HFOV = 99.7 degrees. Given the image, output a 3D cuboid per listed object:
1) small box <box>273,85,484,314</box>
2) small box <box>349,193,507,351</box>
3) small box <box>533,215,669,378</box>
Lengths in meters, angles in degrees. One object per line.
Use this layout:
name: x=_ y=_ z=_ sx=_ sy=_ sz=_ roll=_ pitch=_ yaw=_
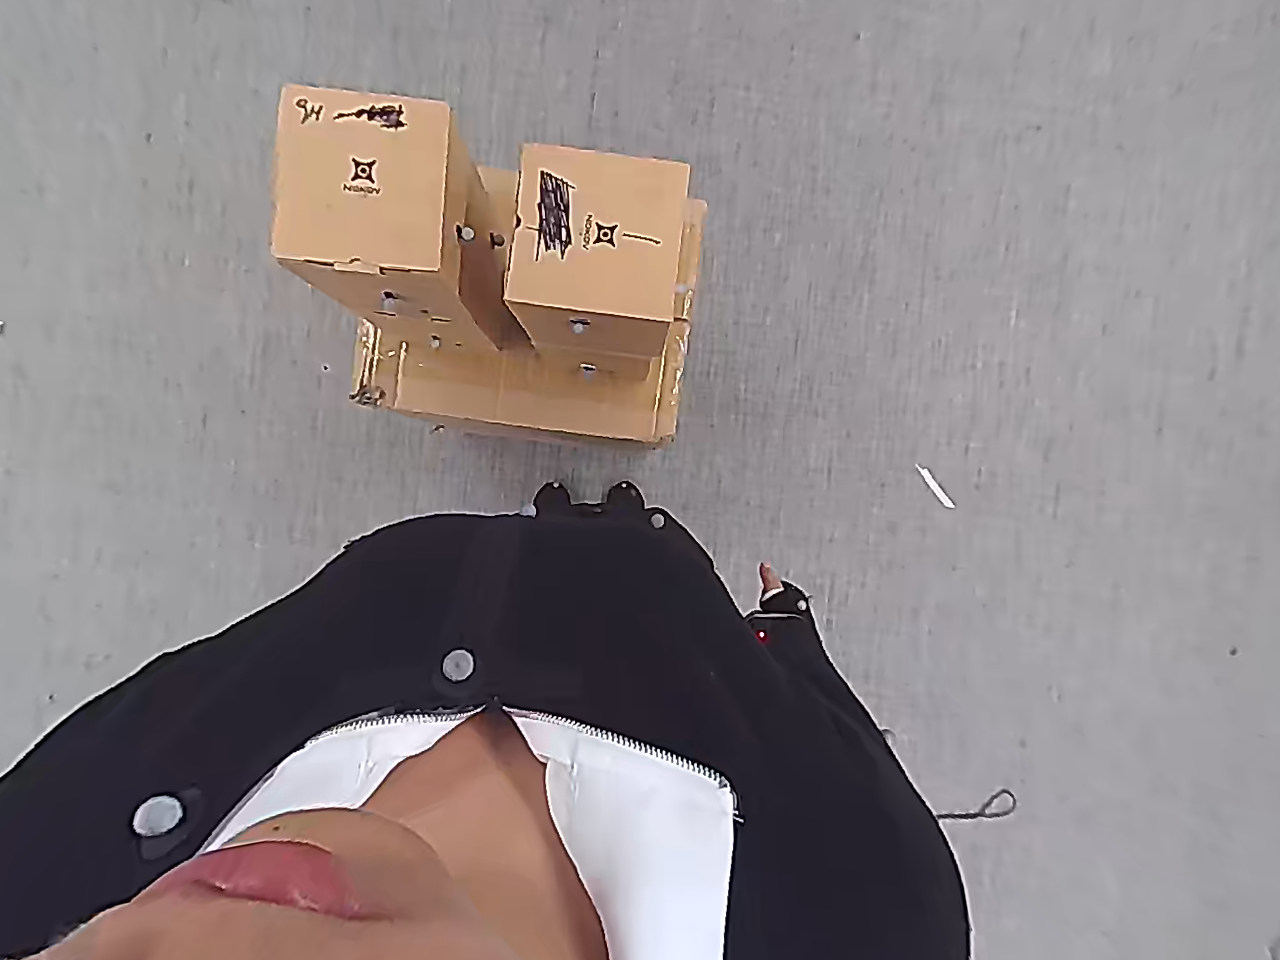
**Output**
small box: x=-0.283 y=-0.301 z=0.620 sx=0.168 sy=0.176 sz=0.179 roll=4 pitch=91 yaw=-4
small box: x=-0.294 y=-0.301 z=0.784 sx=0.168 sy=0.176 sz=0.179 roll=5 pitch=91 yaw=-4
small box: x=-0.054 y=-0.259 z=0.801 sx=0.168 sy=0.176 sz=0.179 roll=7 pitch=92 yaw=-1
